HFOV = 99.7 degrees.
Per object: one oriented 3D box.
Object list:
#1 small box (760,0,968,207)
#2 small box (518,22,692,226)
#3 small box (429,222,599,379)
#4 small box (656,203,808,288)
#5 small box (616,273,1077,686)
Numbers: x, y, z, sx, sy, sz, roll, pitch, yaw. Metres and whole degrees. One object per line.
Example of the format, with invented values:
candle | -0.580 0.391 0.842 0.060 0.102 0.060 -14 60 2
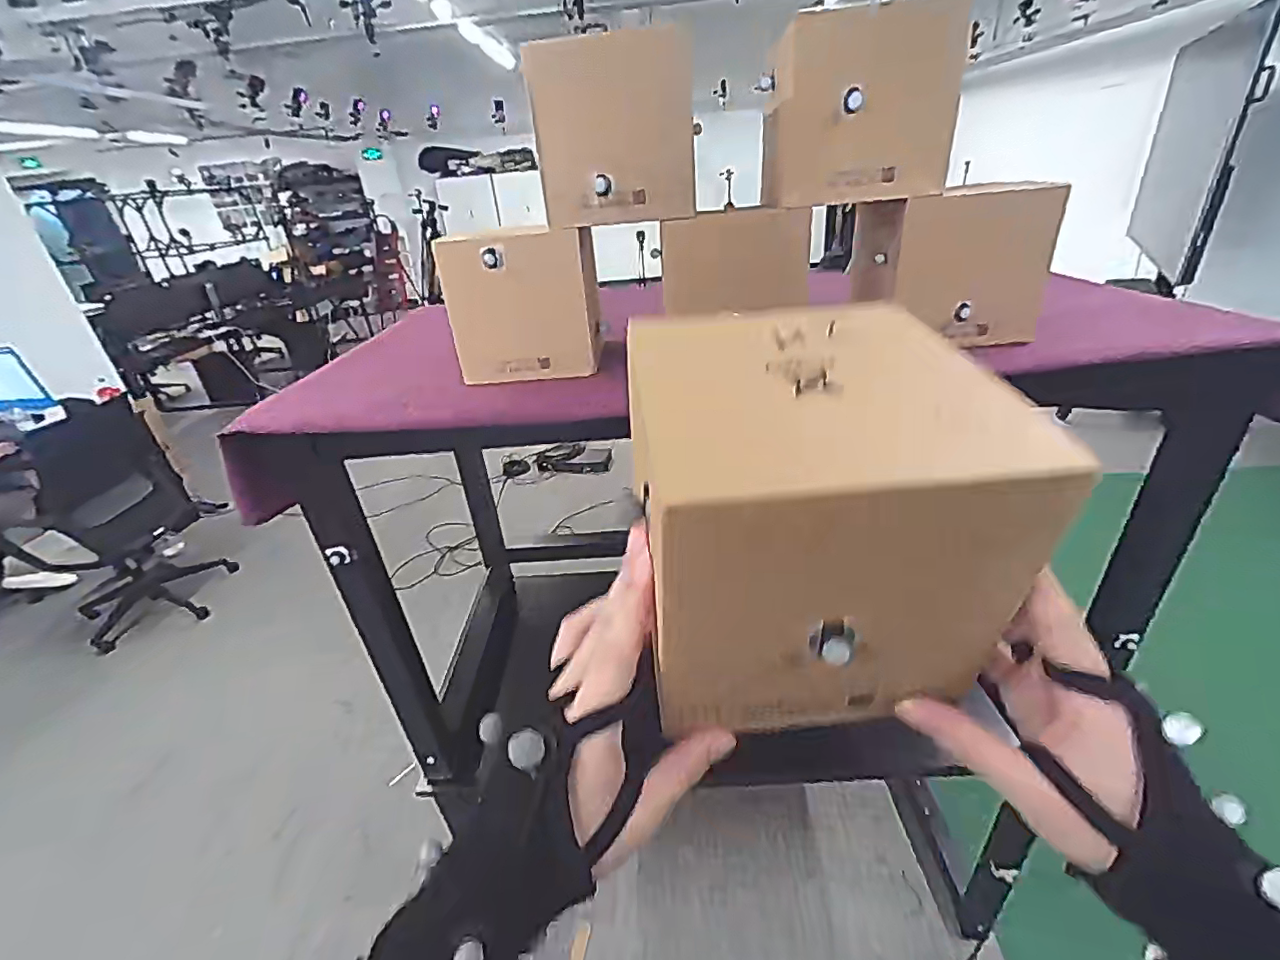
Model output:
small box | 0.230 -0.402 0.604 0.168 0.176 0.179 -3 28 4
small box | -0.027 -0.390 0.621 0.168 0.176 0.179 -3 29 5
small box | -0.146 -0.236 0.699 0.168 0.176 0.179 -4 28 2
small box | 0.107 -0.253 0.690 0.168 0.176 0.179 -4 29 3
small box | 0.076 -0.001 0.307 0.168 0.176 0.179 -4 38 -3
